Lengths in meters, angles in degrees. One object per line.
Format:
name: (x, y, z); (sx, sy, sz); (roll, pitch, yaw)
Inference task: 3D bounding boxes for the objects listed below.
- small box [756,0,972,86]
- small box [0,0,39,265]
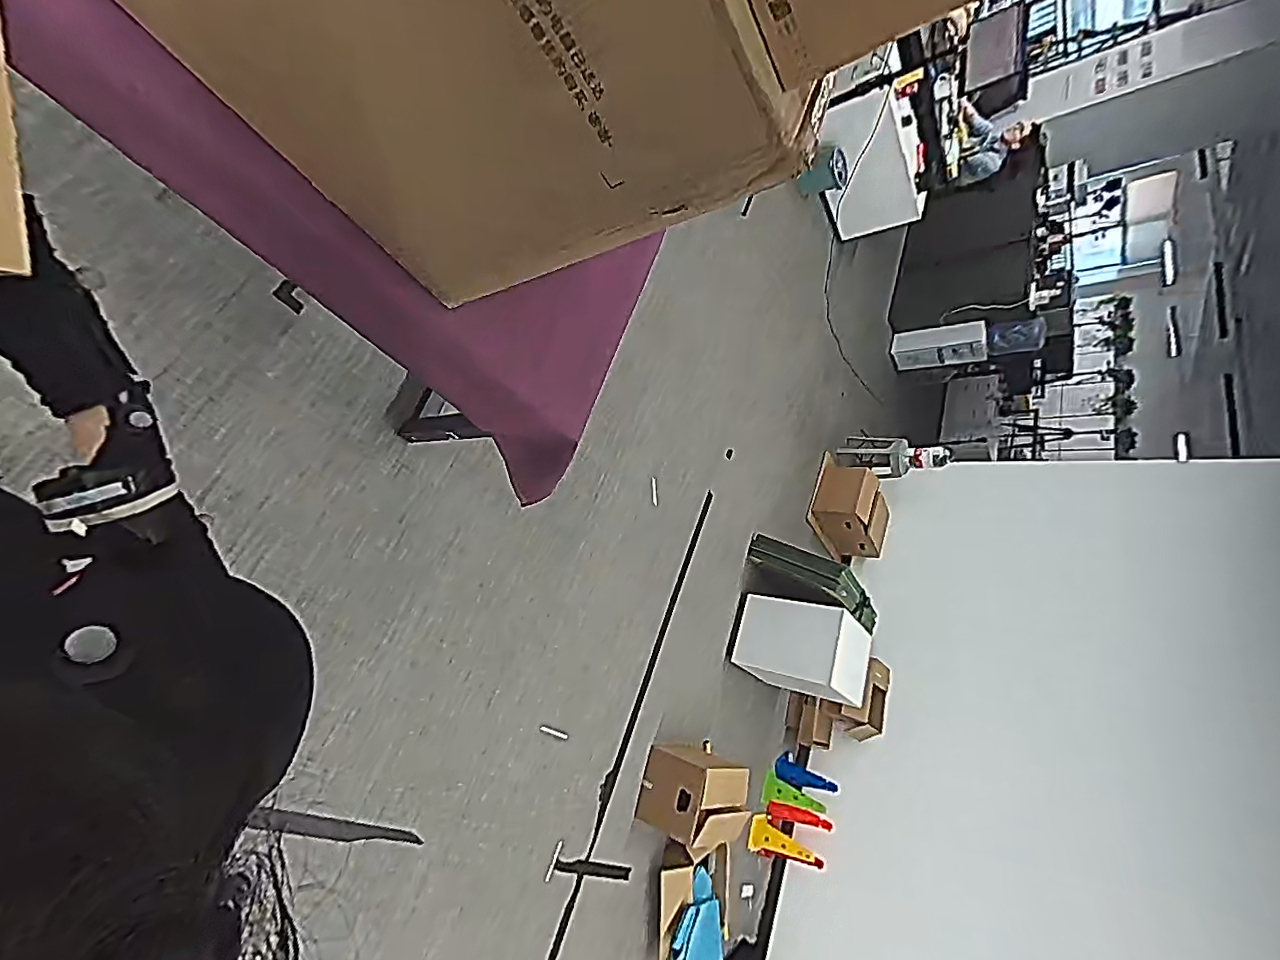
small box: (0.177, -0.449, 0.404); (0.168, 0.176, 0.179); (45, 57, -41)
small box: (-0.464, -0.213, 0.264); (0.168, 0.176, 0.179); (-25, 122, -68)
